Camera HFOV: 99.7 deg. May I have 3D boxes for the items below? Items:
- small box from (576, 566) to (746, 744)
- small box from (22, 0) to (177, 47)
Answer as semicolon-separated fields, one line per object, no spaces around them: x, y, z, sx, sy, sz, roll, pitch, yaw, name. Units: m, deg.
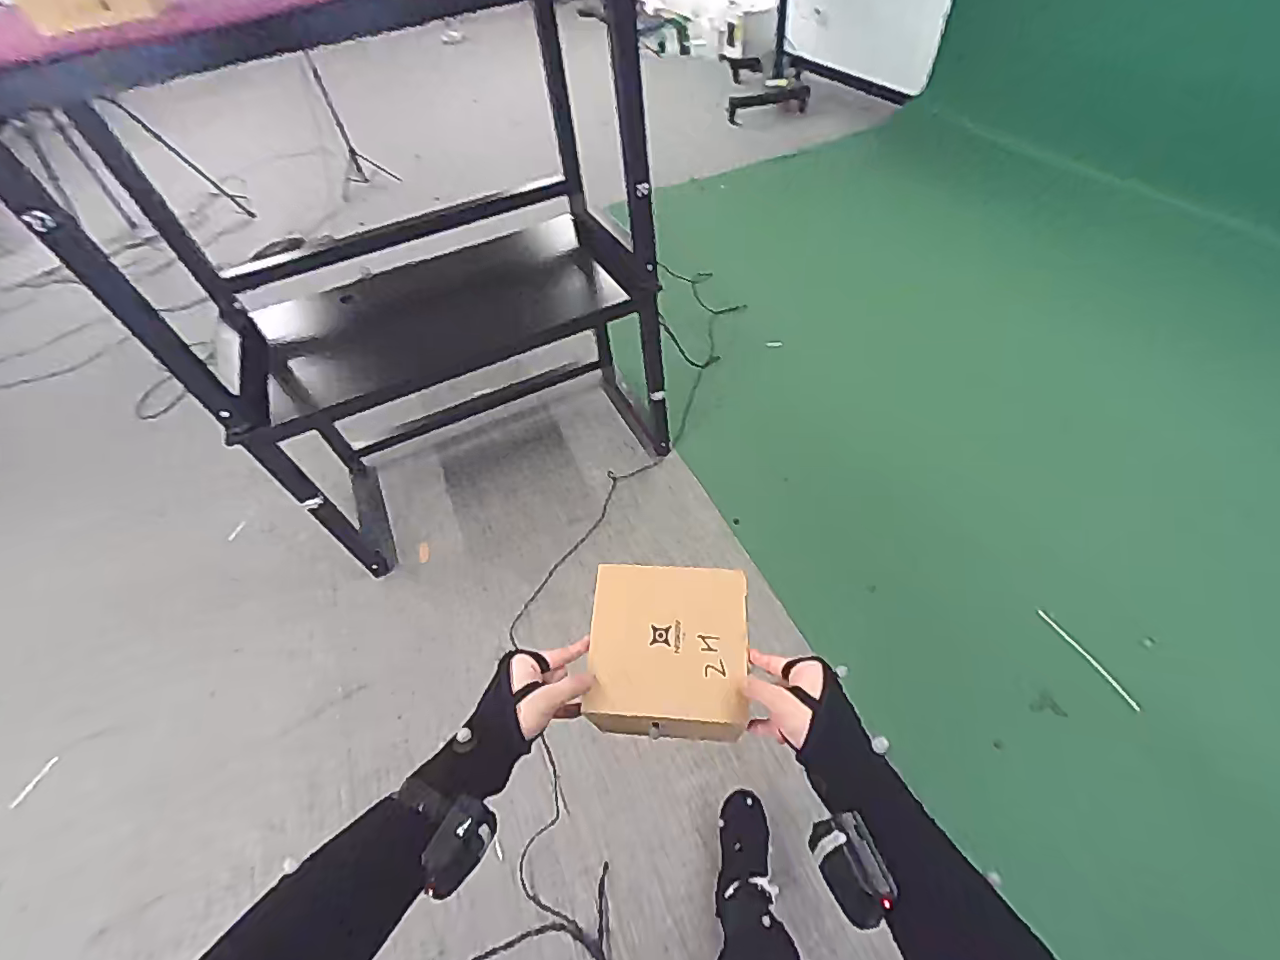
0.032;0.215;0.653;0.179;0.176;0.168;2;58;6;small box
-0.875;-0.804;0.845;0.168;0.176;0.179;-23;50;-12;small box
